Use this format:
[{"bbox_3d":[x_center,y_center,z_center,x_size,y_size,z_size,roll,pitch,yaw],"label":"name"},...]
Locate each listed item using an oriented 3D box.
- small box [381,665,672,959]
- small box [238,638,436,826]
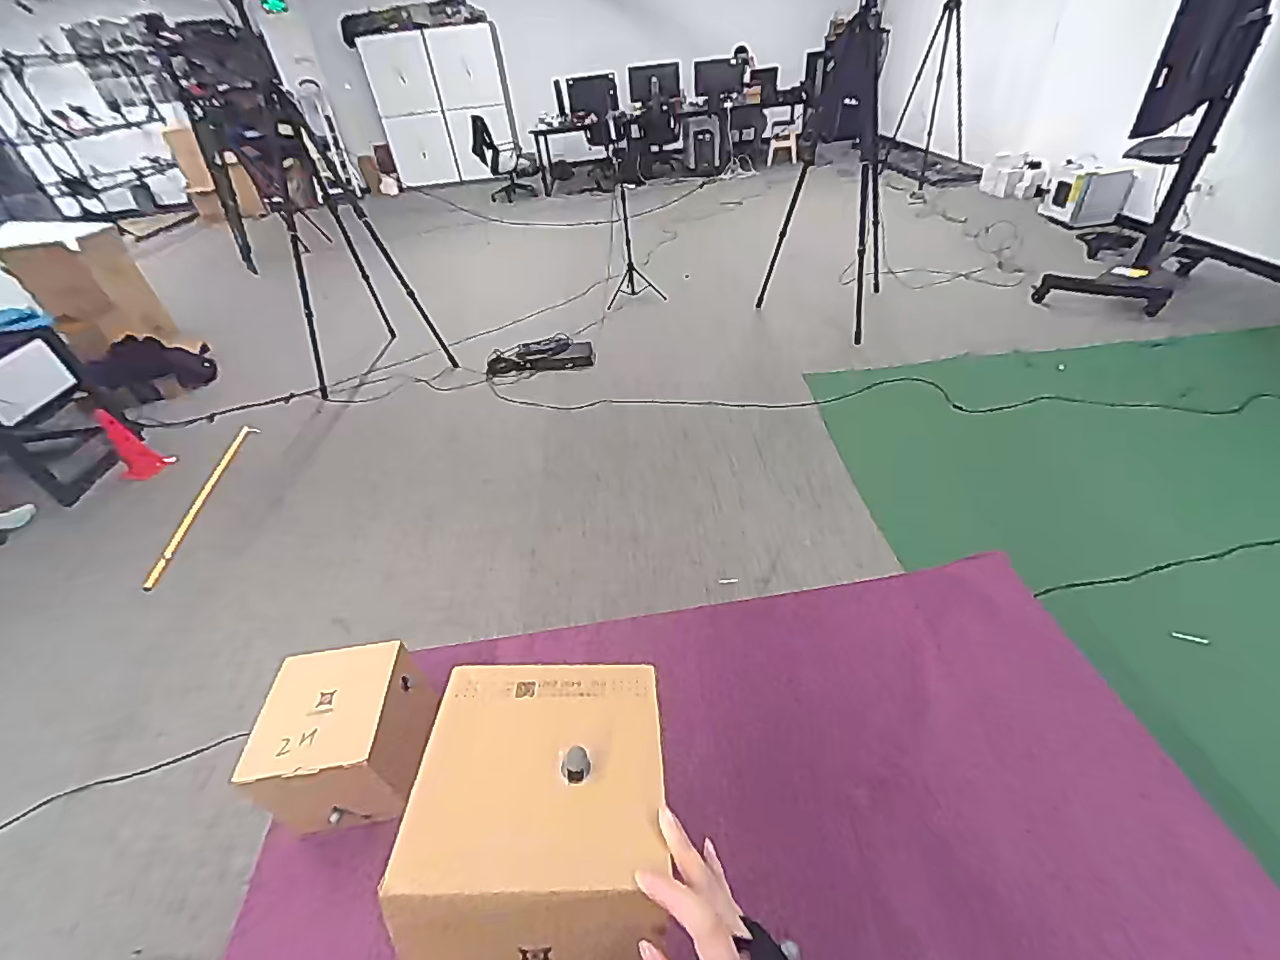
[{"bbox_3d":[-0.072,0.260,0.413,0.168,0.179,0.176,1,30,-4],"label":"small box"},{"bbox_3d":[-0.405,0.355,0.766,0.168,0.176,0.179,-9,40,-1],"label":"small box"}]
